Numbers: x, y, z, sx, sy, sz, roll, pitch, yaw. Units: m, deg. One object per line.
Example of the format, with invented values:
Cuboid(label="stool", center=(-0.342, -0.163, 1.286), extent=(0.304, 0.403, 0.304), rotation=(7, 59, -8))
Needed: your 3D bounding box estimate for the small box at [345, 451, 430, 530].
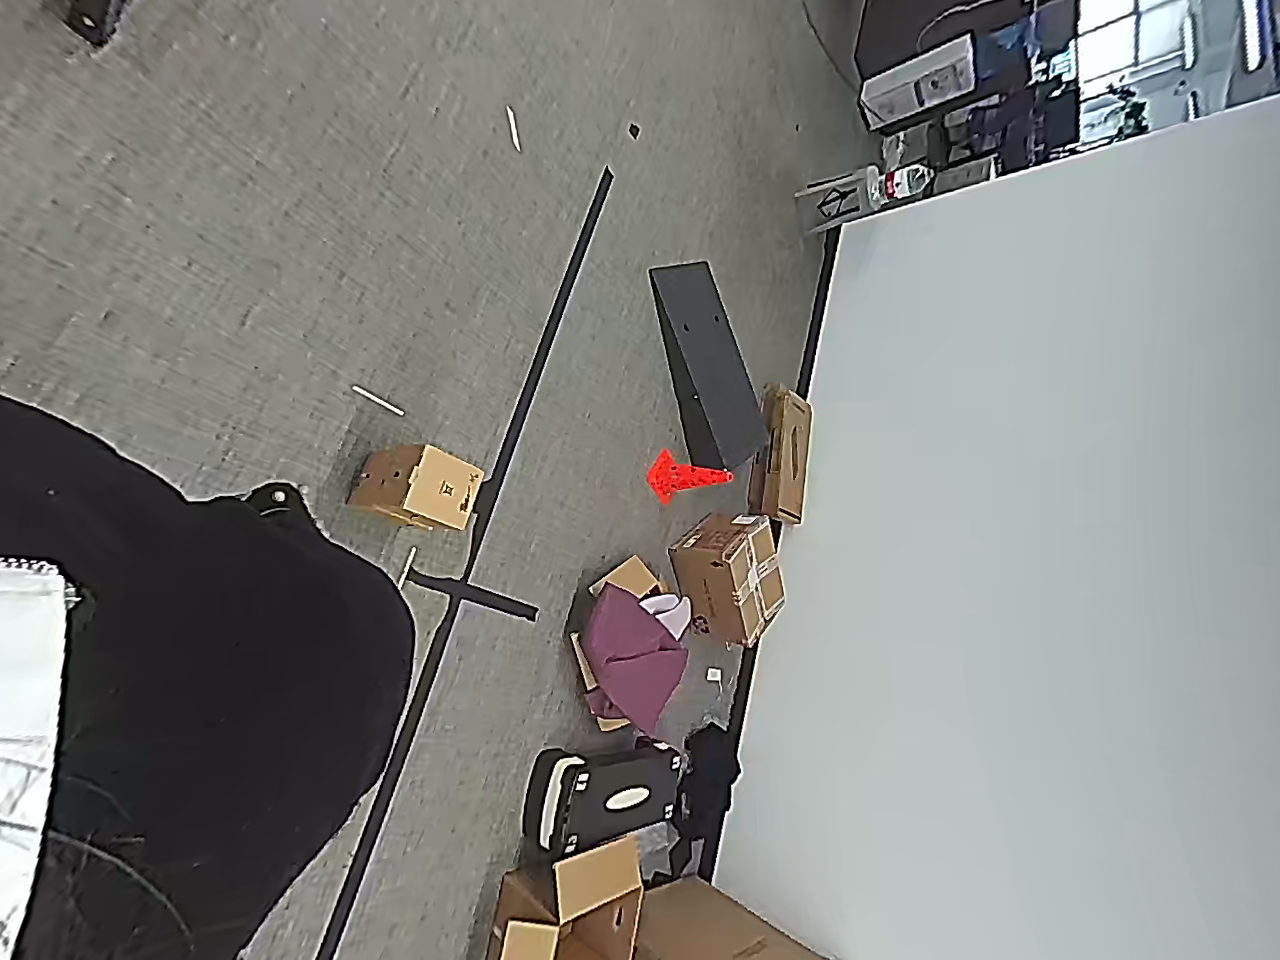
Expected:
Cuboid(label="small box", center=(-0.665, 0.026, 1.483), extent=(0.179, 0.176, 0.168), rotation=(35, 64, -44))

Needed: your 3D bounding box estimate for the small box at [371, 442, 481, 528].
Cuboid(label="small box", center=(-0.545, 0.017, 1.371), extent=(0.179, 0.176, 0.168), rotation=(32, 66, -44))
